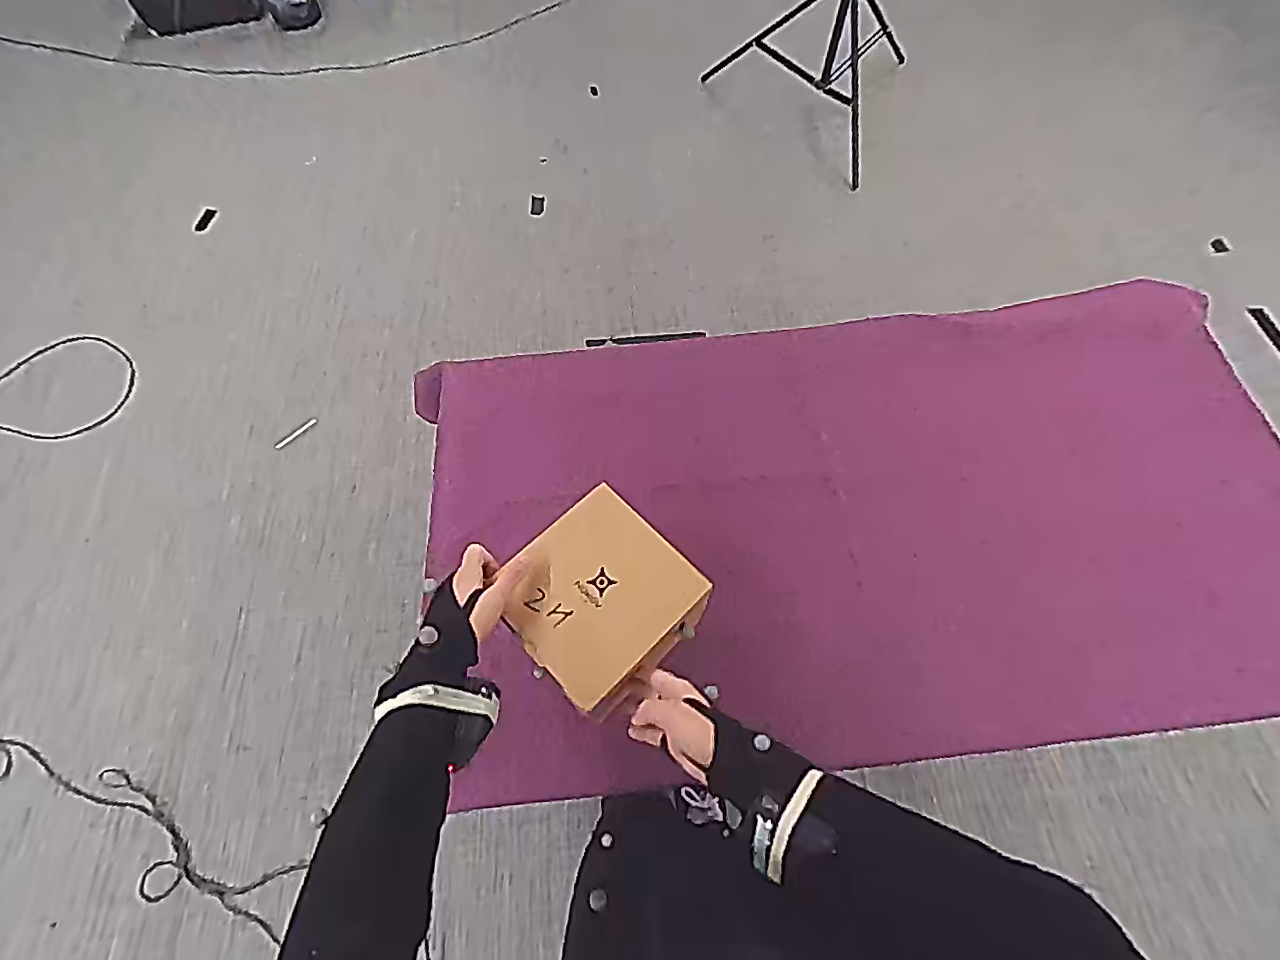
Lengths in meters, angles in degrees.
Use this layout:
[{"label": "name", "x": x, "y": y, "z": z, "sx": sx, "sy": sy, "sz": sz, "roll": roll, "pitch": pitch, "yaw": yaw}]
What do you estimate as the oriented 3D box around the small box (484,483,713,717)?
[{"label": "small box", "x": -0.042, "y": 0.142, "z": 0.614, "sx": 0.168, "sy": 0.176, "sz": 0.179, "roll": 40, "pitch": 70, "yaw": 18}]
